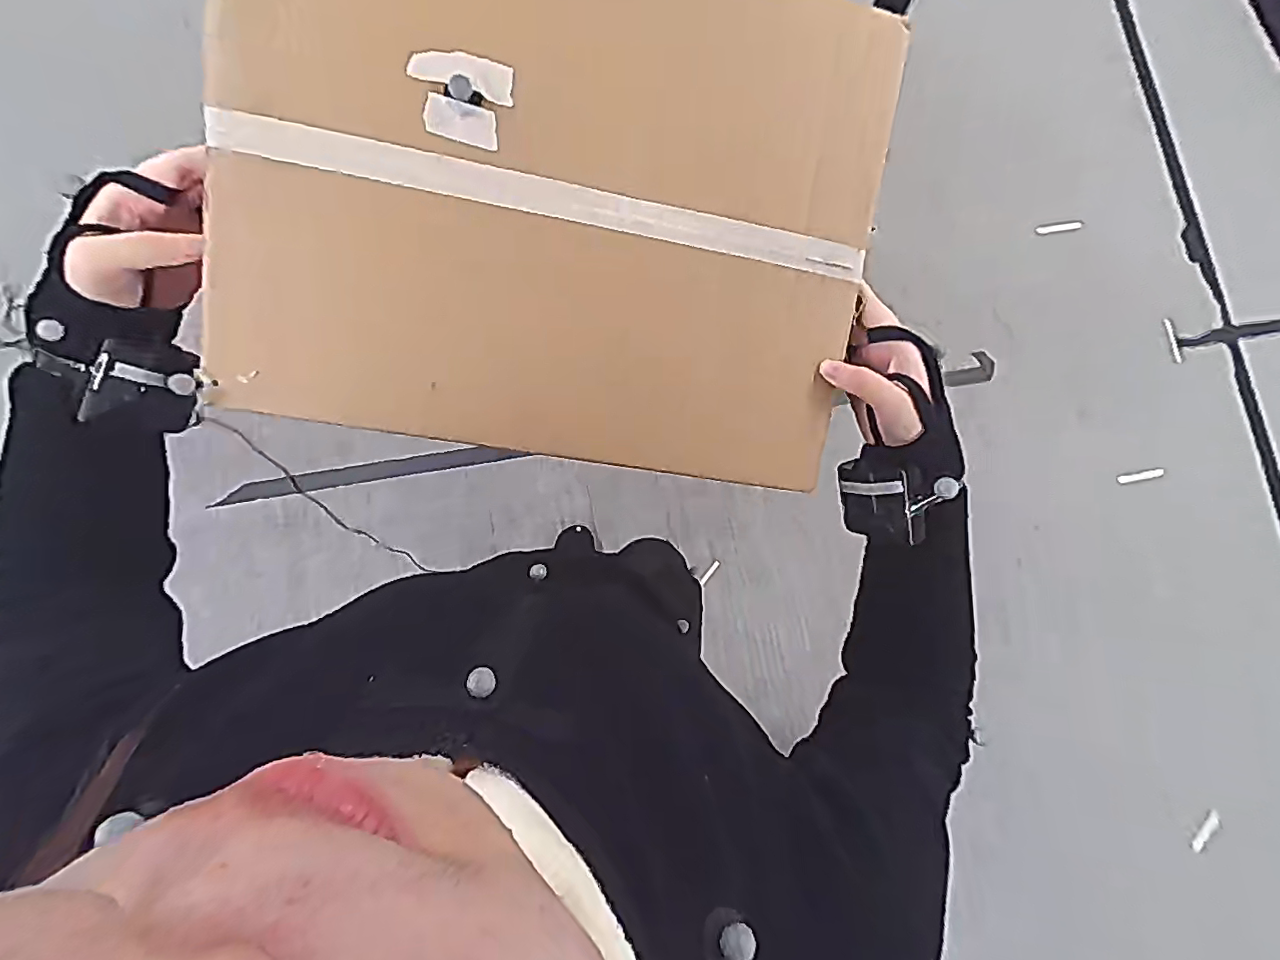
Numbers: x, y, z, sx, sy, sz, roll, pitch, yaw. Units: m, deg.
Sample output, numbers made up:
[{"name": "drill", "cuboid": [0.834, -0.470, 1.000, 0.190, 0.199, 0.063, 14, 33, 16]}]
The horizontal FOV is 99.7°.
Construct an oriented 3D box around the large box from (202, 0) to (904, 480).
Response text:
[{"name": "large box", "cuboid": [-0.066, -0.199, 0.478, 0.408, 0.320, 0.320, 7, 99, -8]}]
